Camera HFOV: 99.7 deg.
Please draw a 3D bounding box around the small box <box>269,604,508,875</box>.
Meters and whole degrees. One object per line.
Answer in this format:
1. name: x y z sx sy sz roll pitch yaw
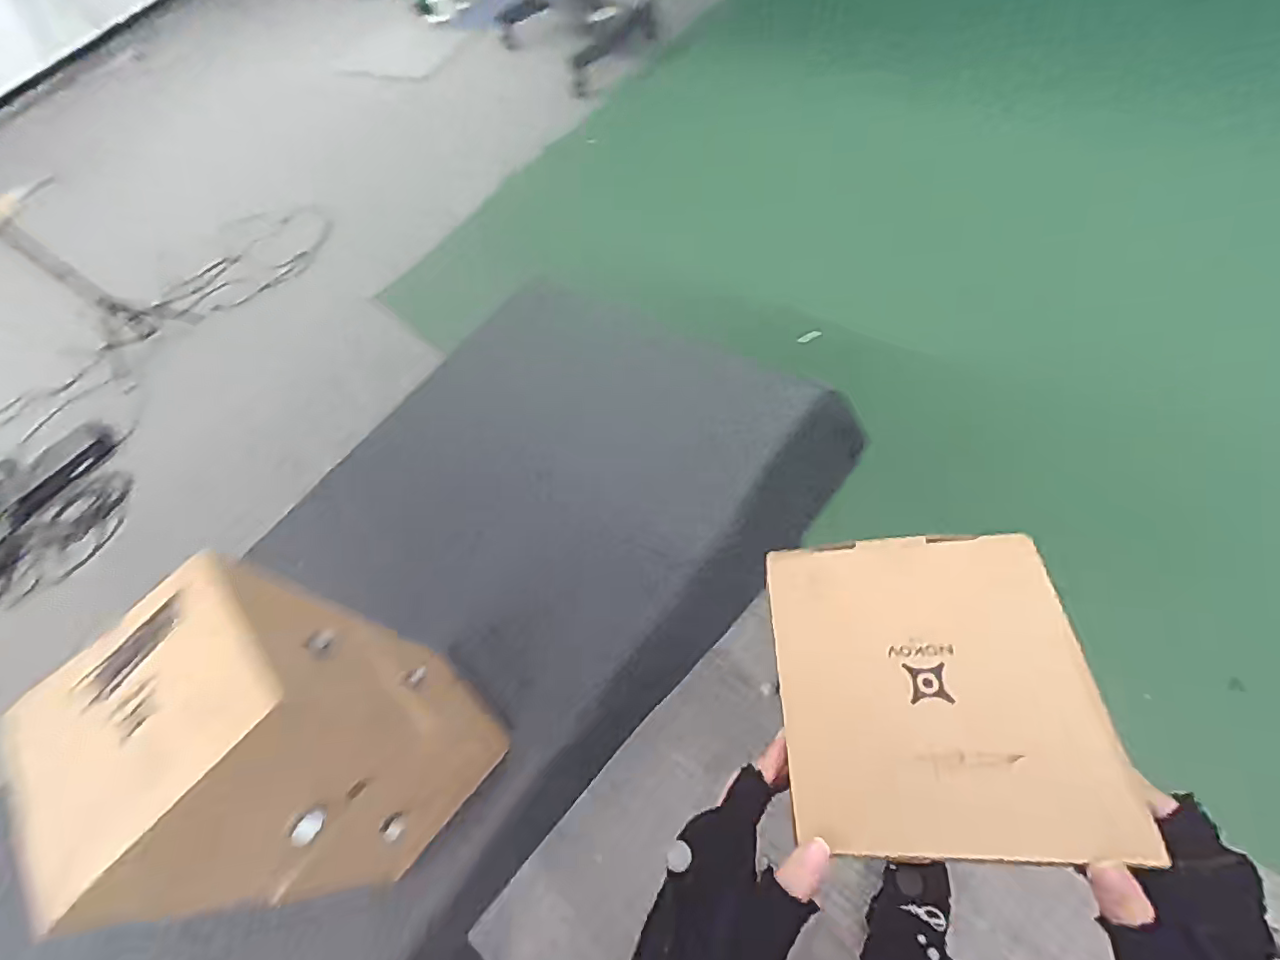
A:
1. small box: -0.276 0.271 0.575 0.168 0.176 0.179 36 75 31
